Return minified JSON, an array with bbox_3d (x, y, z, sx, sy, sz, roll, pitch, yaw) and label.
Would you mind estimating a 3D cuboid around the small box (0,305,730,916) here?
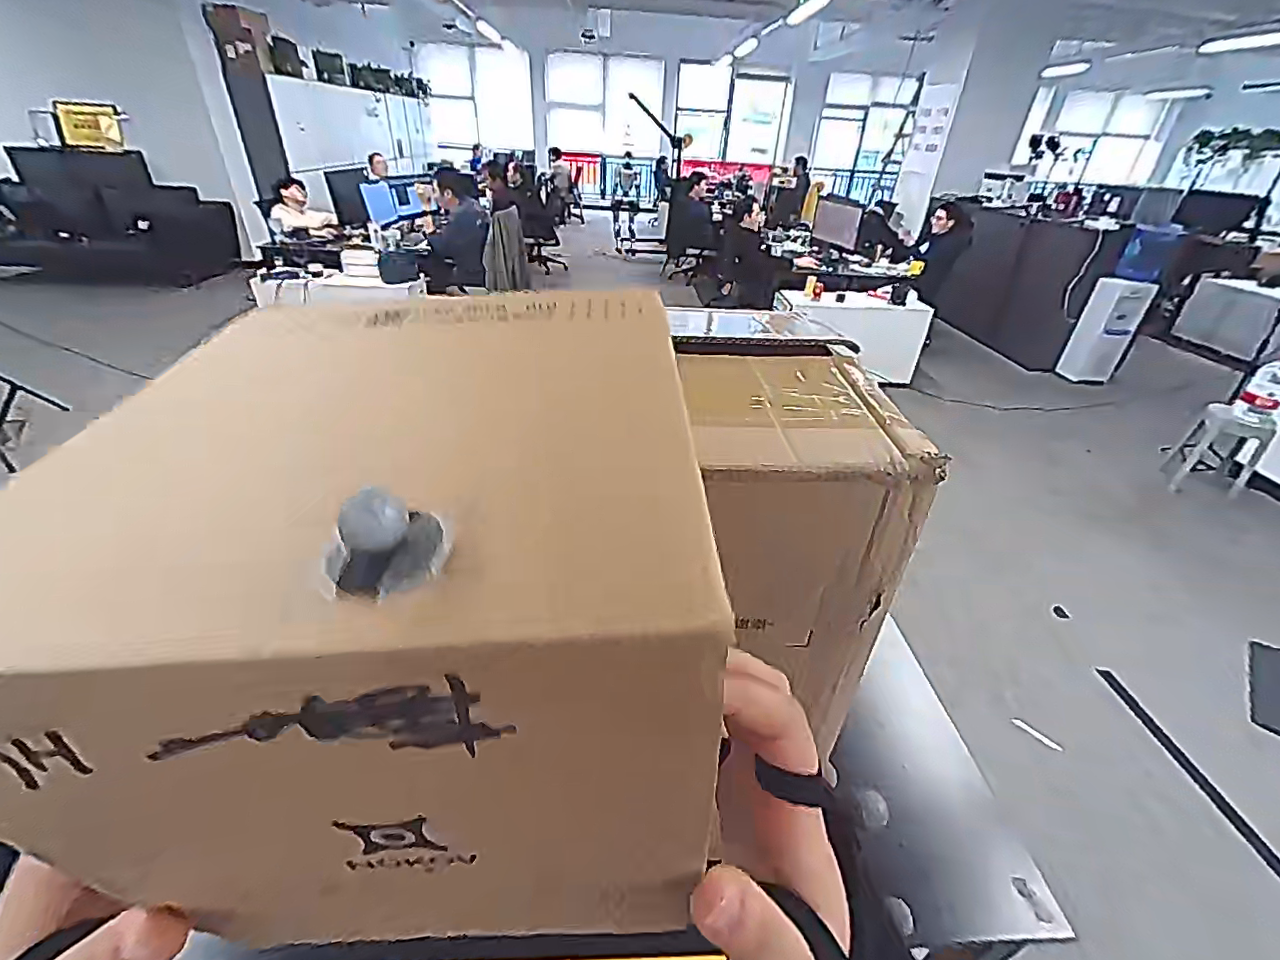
[{"bbox_3d":[-0.066,0.046,0.218,0.168,0.179,0.176,-3,39,-2],"label":"small box"}]
